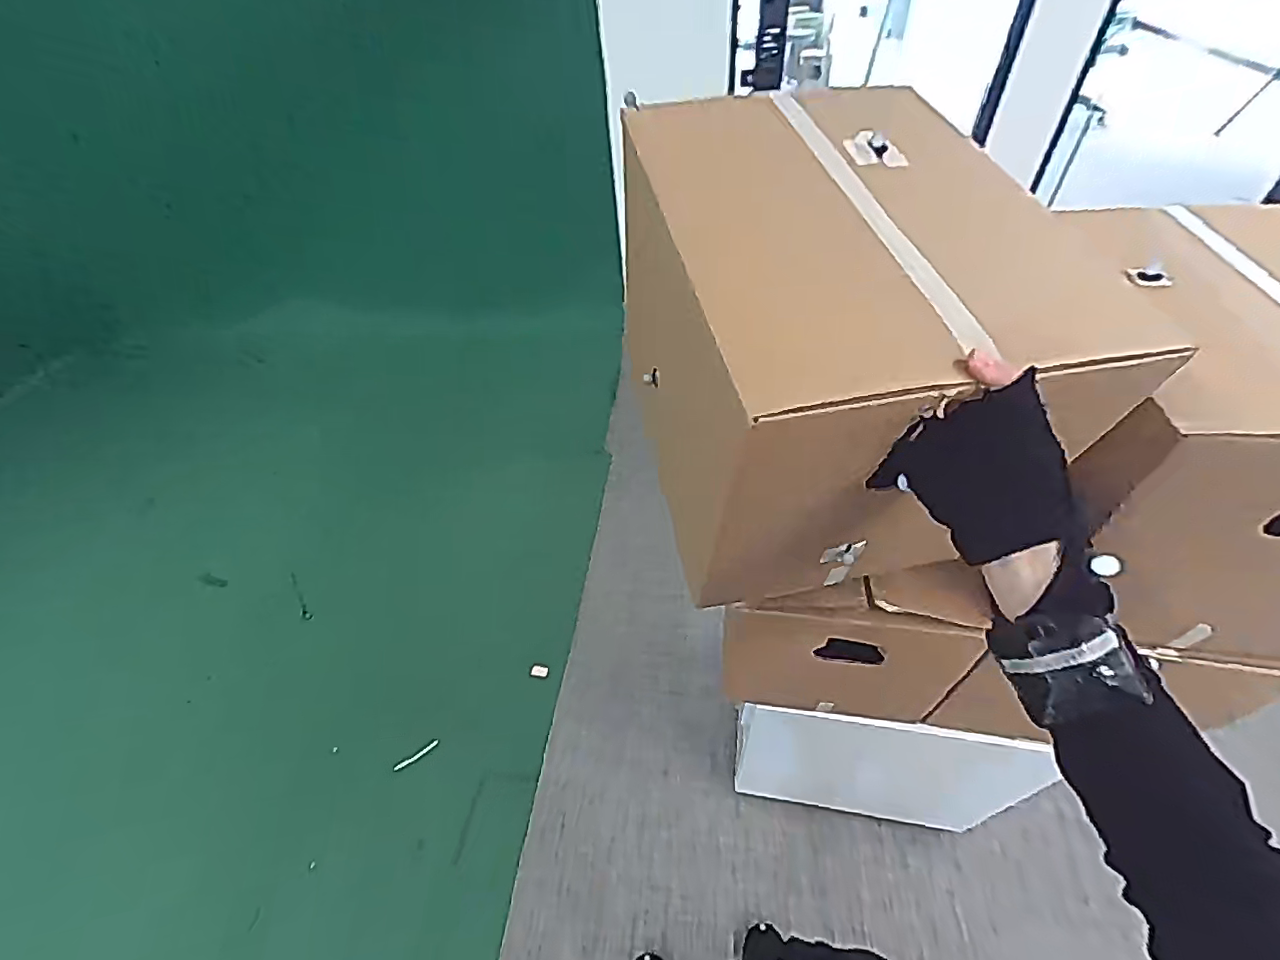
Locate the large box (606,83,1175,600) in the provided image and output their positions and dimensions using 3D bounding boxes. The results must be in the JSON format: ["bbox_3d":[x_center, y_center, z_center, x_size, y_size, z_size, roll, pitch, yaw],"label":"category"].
[{"bbox_3d":[0.161,-0.142,0.563,0.320,0.320,0.408,-10,57,-8],"label":"large box"}]
